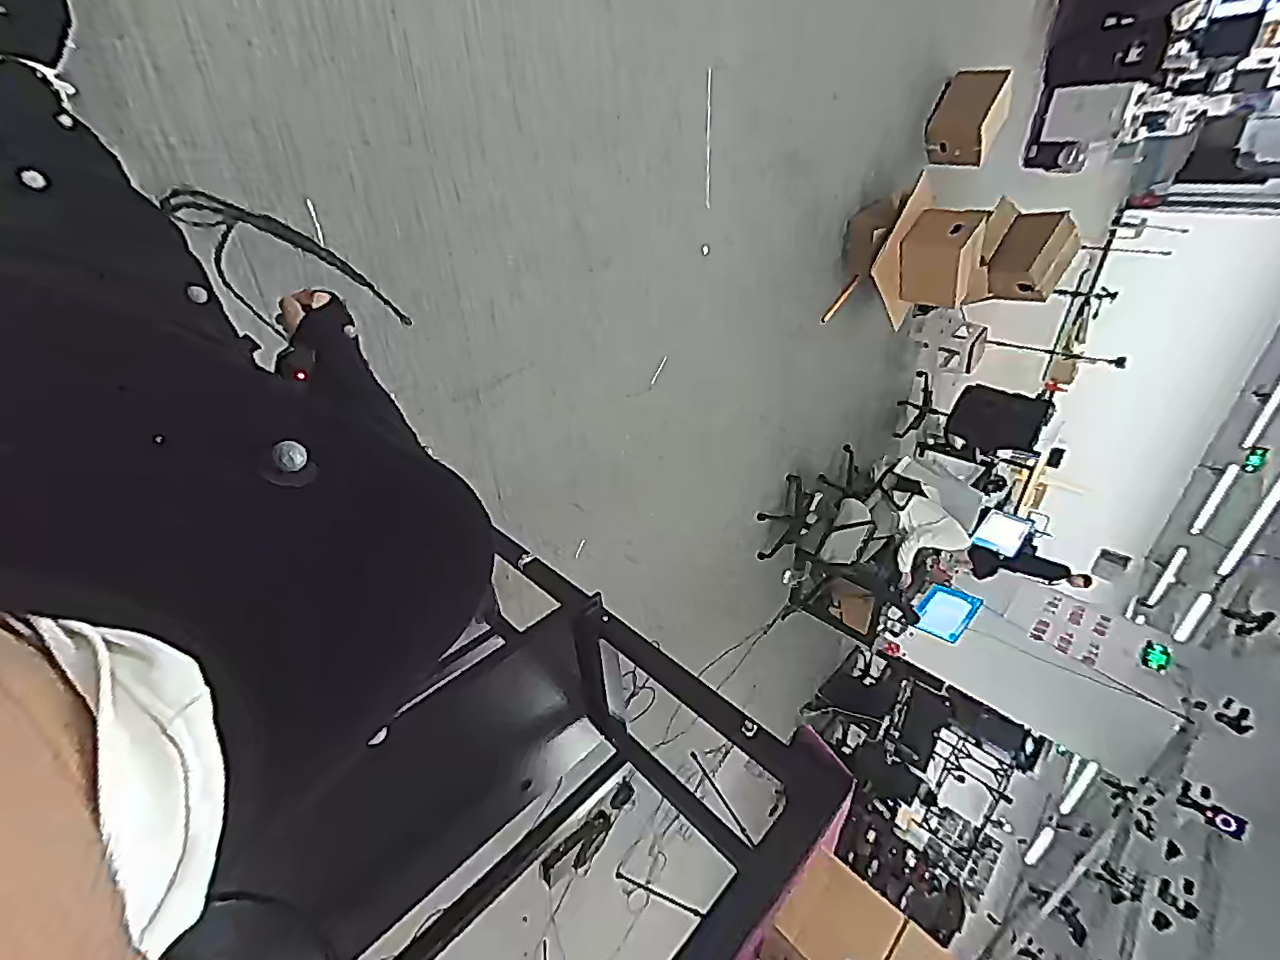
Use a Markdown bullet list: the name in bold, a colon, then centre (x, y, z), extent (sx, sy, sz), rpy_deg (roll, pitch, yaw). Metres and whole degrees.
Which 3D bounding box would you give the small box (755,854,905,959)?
- **small box**: centre (0.327, 0.813, 0.947), extent (0.179, 0.176, 0.168), rpy_deg (-27, 130, -35)
